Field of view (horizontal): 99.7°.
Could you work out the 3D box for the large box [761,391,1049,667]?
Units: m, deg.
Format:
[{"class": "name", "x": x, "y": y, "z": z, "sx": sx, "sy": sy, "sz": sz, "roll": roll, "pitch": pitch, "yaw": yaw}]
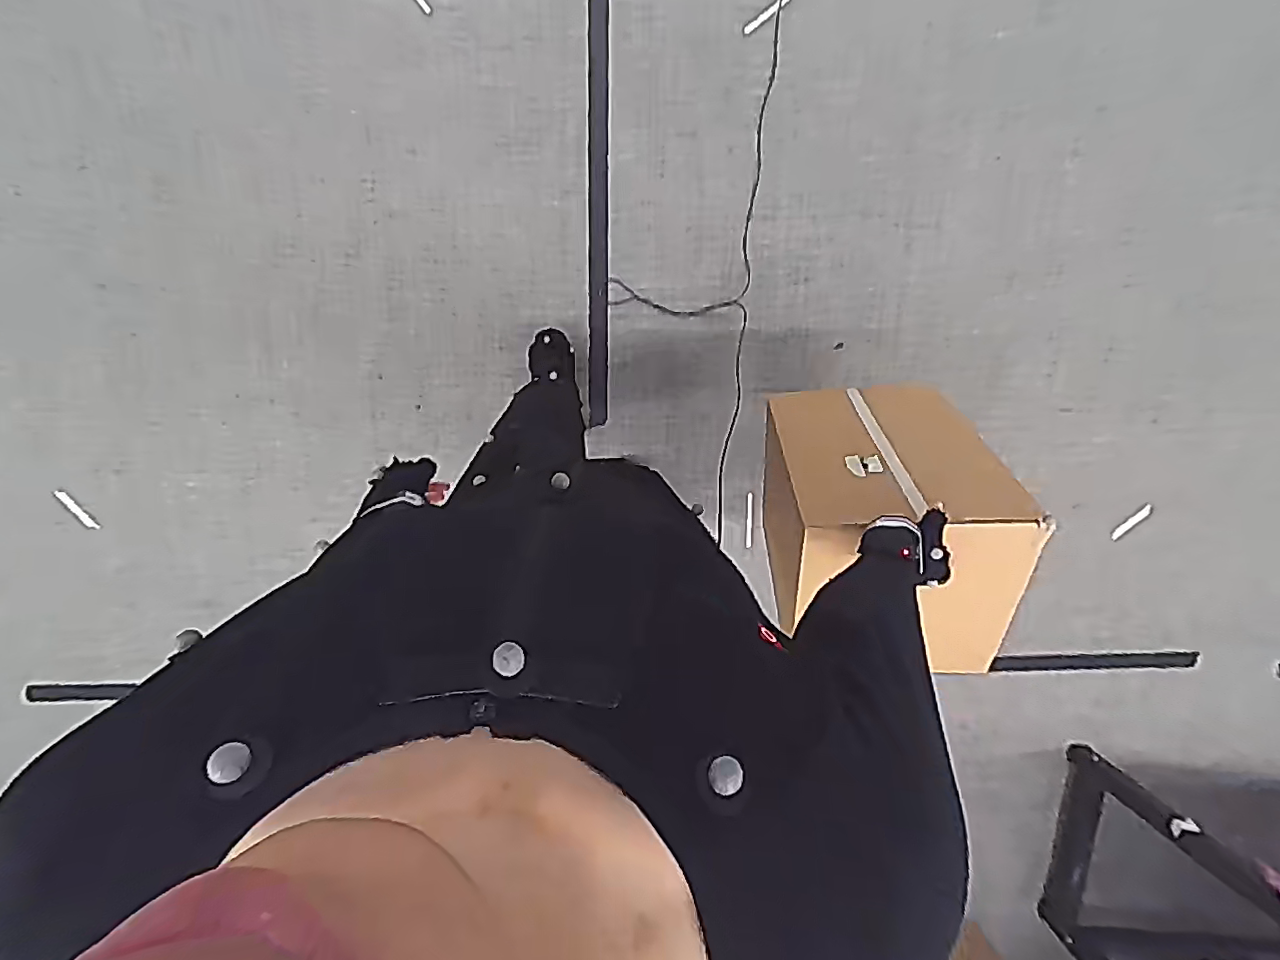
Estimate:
[{"class": "large box", "x": 0.406, "y": 0.072, "z": 0.967, "sx": 0.320, "sy": 0.408, "sz": 0.320, "roll": -3, "pitch": 126, "yaw": 6}]
